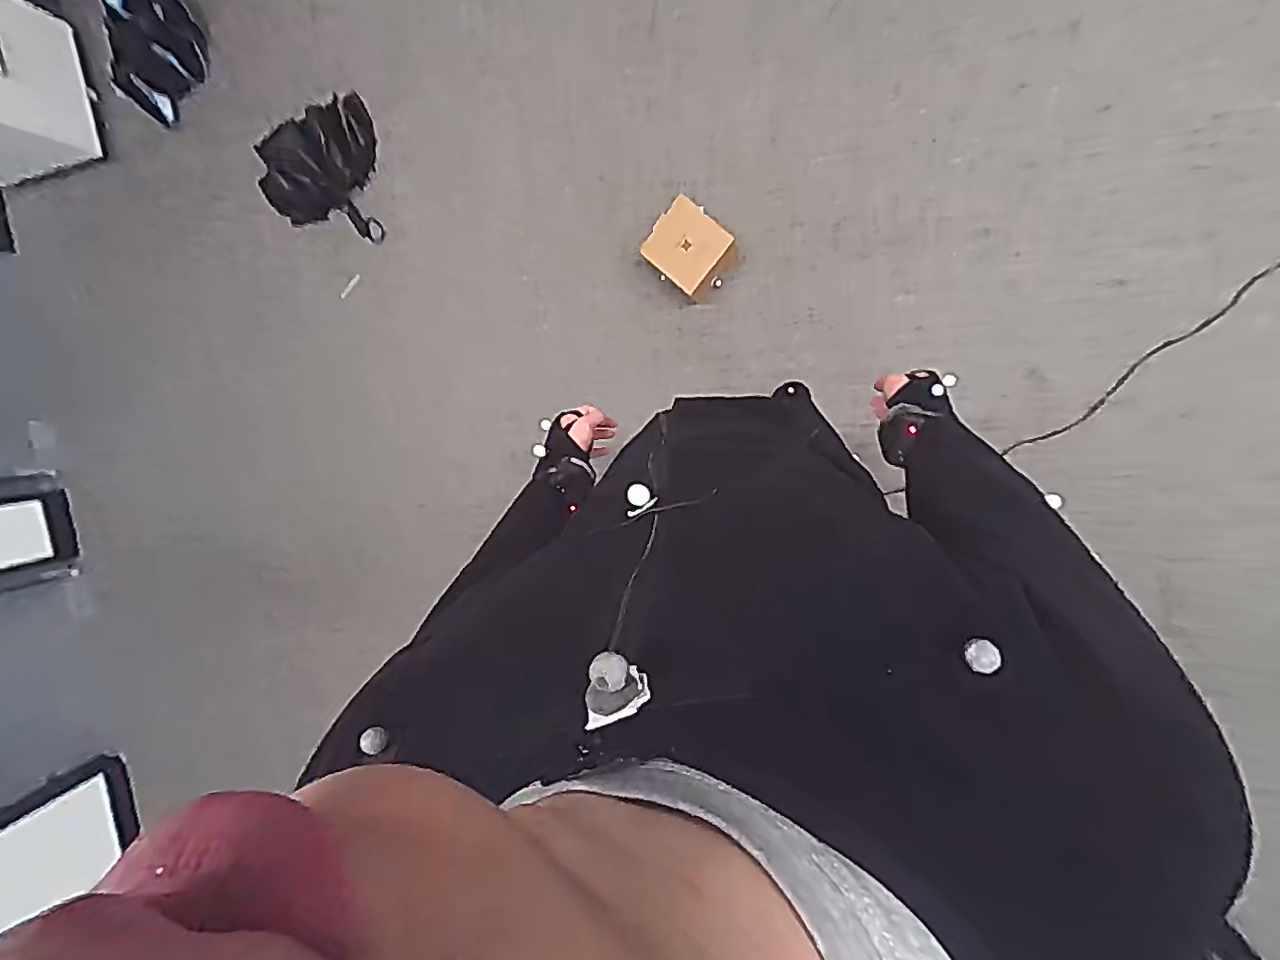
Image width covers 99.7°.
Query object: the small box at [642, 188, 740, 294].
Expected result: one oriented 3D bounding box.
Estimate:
[{"bbox_3d":[0.135,-0.595,1.376,0.179,0.176,0.168,41,109,3],"label":"small box"}]
